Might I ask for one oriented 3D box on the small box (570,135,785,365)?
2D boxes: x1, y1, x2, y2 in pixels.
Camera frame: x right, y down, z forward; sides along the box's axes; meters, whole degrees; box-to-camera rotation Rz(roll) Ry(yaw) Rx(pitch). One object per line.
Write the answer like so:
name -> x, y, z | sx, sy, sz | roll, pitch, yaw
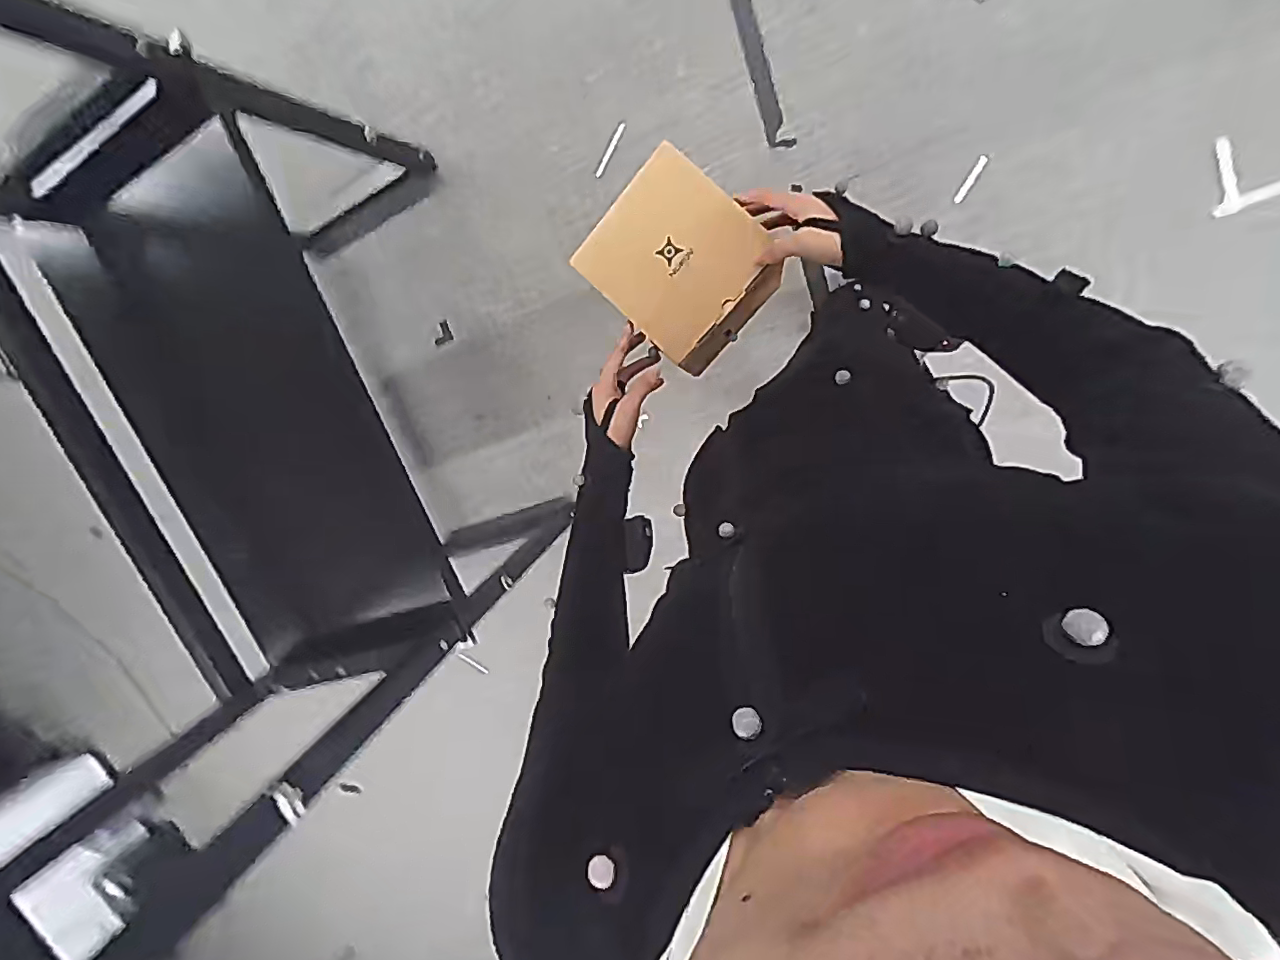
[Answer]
small box -> 0.050, -0.256, 0.655 | 0.179, 0.176, 0.168 | 44, 104, 3
